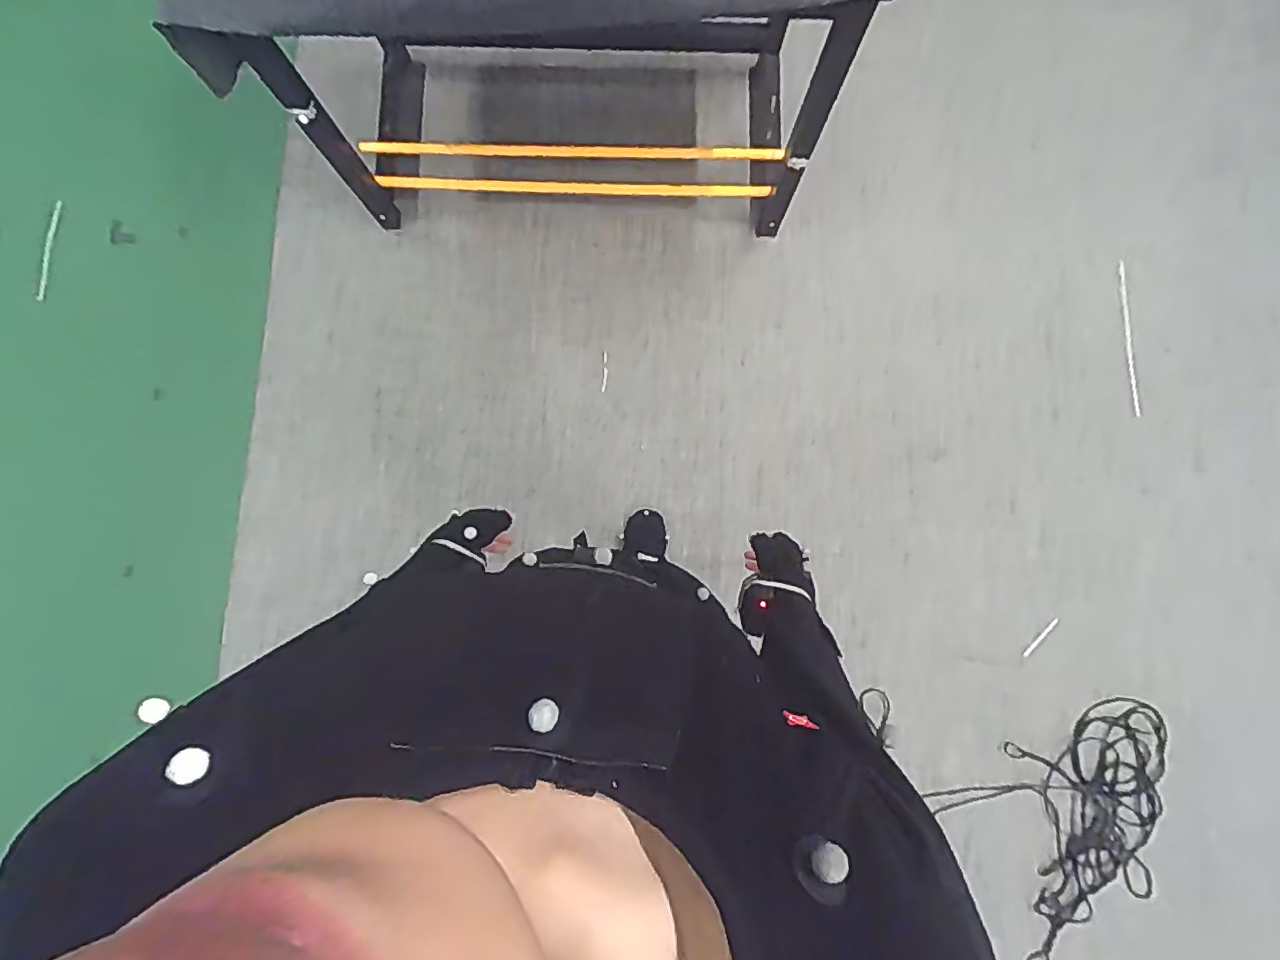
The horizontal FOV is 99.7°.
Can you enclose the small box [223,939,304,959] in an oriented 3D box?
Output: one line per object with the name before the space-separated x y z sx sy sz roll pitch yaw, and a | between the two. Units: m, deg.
small box | -0.918 1.226 1.255 0.168 0.176 0.179 5 81 1
